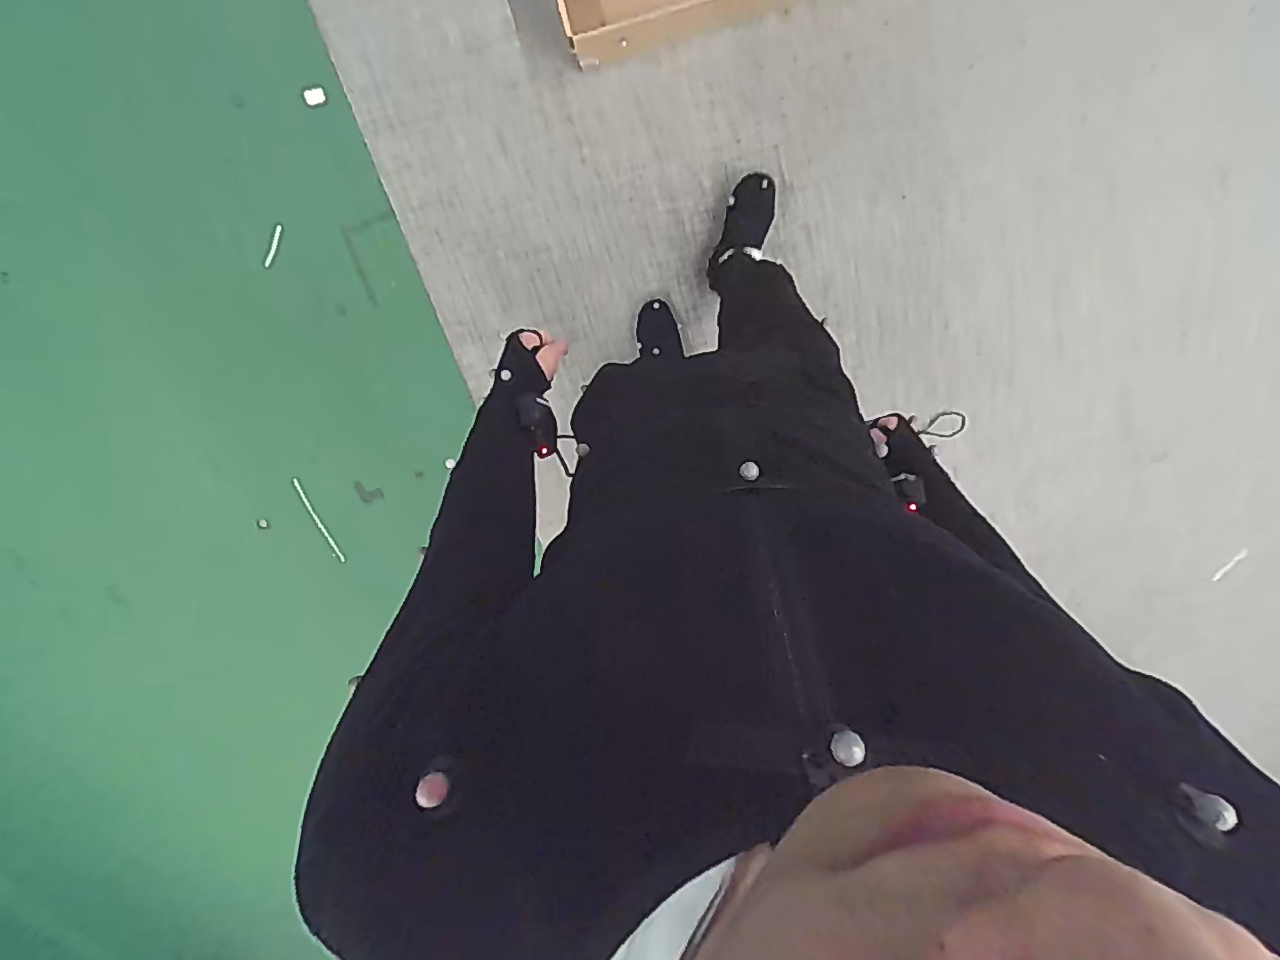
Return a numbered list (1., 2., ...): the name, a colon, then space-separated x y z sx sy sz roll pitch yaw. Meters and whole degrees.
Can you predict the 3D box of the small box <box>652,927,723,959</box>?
1. small box: 0.133 1.299 1.394 0.168 0.176 0.179 -15 116 5
